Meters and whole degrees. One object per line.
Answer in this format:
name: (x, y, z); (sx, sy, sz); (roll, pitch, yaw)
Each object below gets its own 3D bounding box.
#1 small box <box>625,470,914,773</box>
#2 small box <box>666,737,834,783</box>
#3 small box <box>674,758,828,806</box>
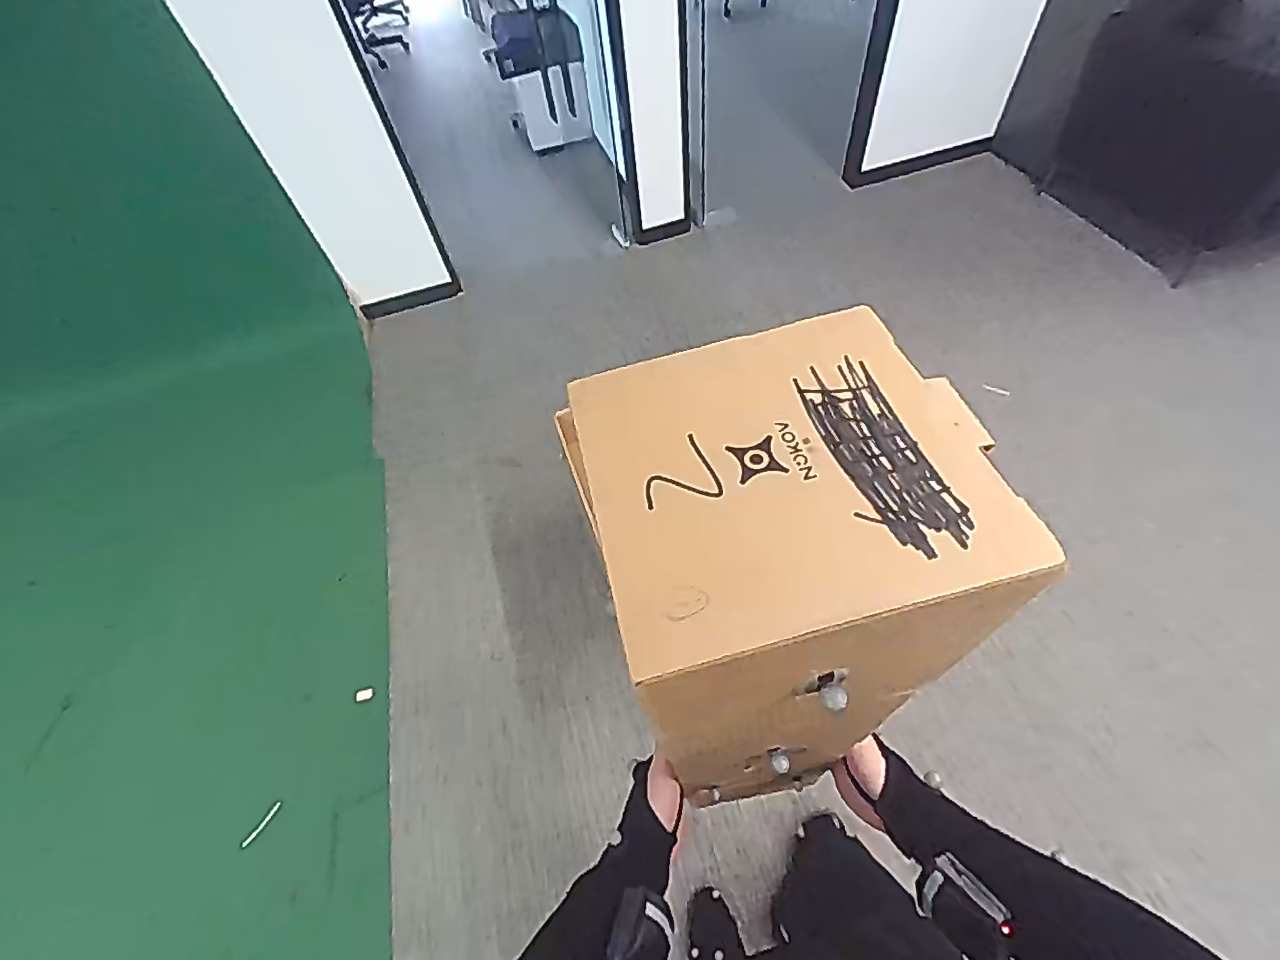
small box: (0.087, 0.121, 0.449); (0.168, 0.176, 0.179); (-12, 53, 0)
small box: (0.107, 0.215, 0.584); (0.168, 0.176, 0.179); (-10, 53, 1)
small box: (0.125, 0.315, 0.712); (0.179, 0.176, 0.168); (-11, 53, 0)
